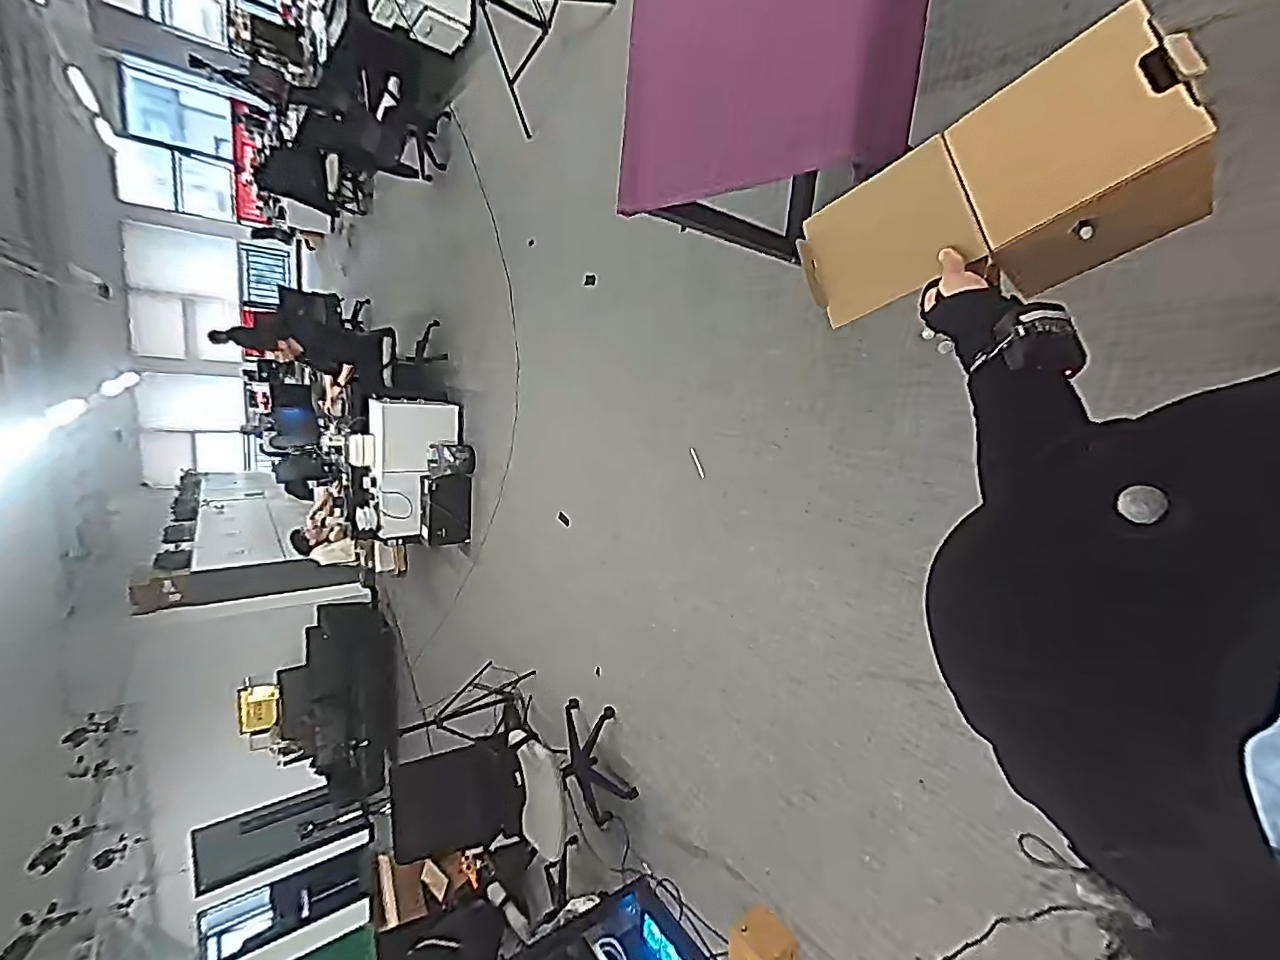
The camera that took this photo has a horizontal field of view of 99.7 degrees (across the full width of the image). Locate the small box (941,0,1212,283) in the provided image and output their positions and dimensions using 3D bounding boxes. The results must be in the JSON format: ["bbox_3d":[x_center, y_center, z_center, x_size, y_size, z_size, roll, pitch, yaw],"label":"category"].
[{"bbox_3d":[0.462,-0.341,0.578,0.179,0.176,0.168,-24,71,43],"label":"small box"}]
